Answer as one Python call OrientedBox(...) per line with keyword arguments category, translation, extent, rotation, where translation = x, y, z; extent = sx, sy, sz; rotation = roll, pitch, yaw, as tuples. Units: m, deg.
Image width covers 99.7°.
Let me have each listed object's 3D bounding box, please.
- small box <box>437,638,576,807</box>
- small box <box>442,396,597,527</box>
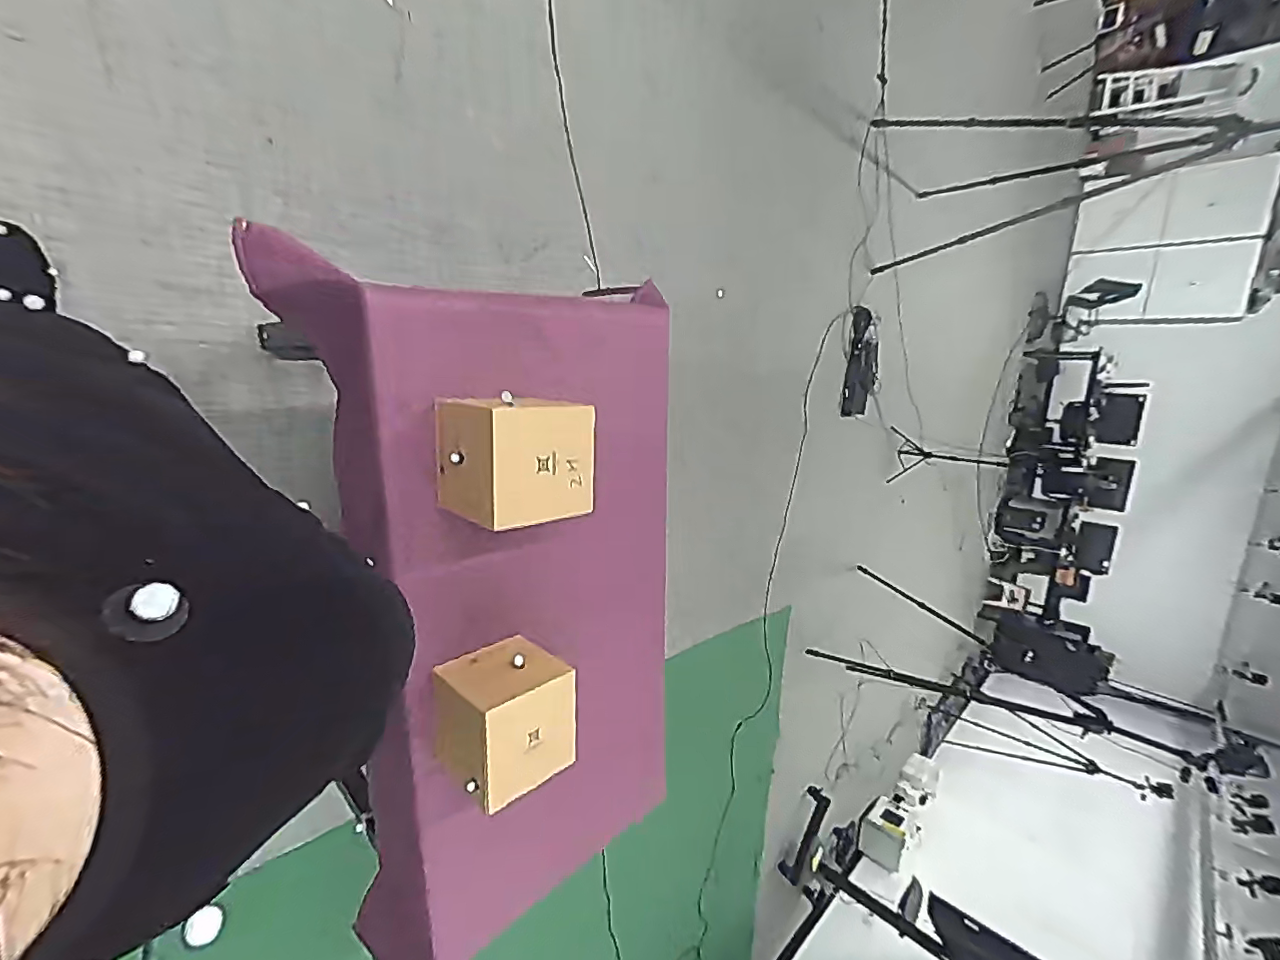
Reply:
OrientedBox(category="small box", translation=(-0.223, 0.382, 0.896), extent=(0.168, 0.176, 0.179), rotation=(-11, 109, -44))
OrientedBox(category="small box", translation=(-0.187, -0.038, 0.820), extent=(0.179, 0.176, 0.168), rotation=(-9, 107, -45))
